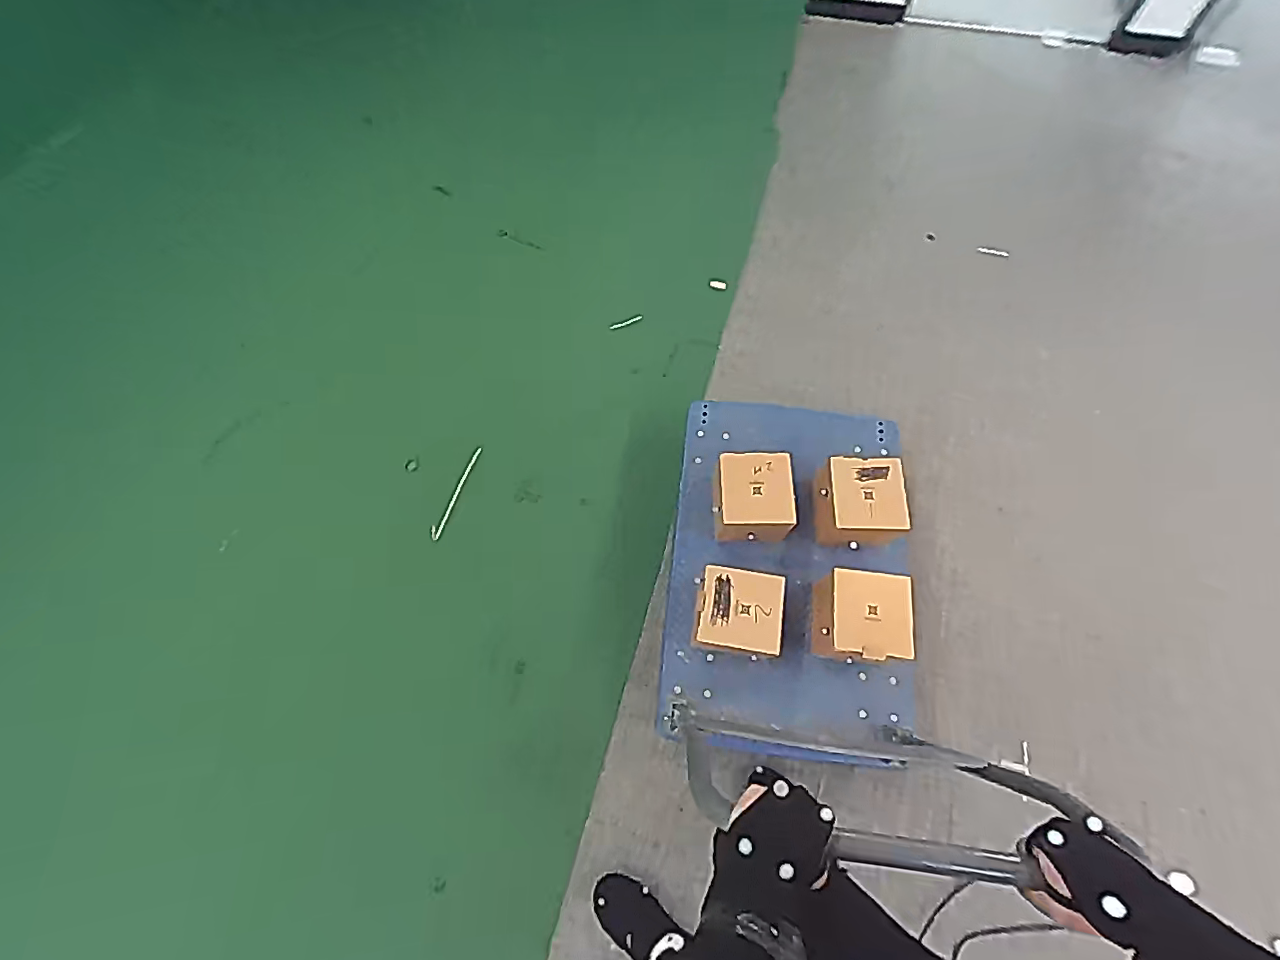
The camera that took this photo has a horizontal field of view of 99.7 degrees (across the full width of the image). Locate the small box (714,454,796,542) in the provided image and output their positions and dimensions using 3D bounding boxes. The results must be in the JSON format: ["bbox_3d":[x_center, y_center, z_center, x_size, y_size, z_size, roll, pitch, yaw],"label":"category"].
[{"bbox_3d":[0.273,0.049,1.318,0.168,0.176,0.179,1,69,1],"label":"small box"}]

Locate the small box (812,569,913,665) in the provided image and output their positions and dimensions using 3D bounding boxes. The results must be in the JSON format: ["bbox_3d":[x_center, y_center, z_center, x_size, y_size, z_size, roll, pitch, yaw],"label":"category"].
[{"bbox_3d":[0.492,0.312,1.216,0.168,0.176,0.179,7,70,4],"label":"small box"}]

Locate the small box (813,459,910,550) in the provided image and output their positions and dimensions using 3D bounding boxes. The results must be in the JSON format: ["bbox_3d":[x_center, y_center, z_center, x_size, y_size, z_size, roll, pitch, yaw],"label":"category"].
[{"bbox_3d":[0.526,0.062,1.309,0.168,0.176,0.179,2,70,2],"label":"small box"}]
